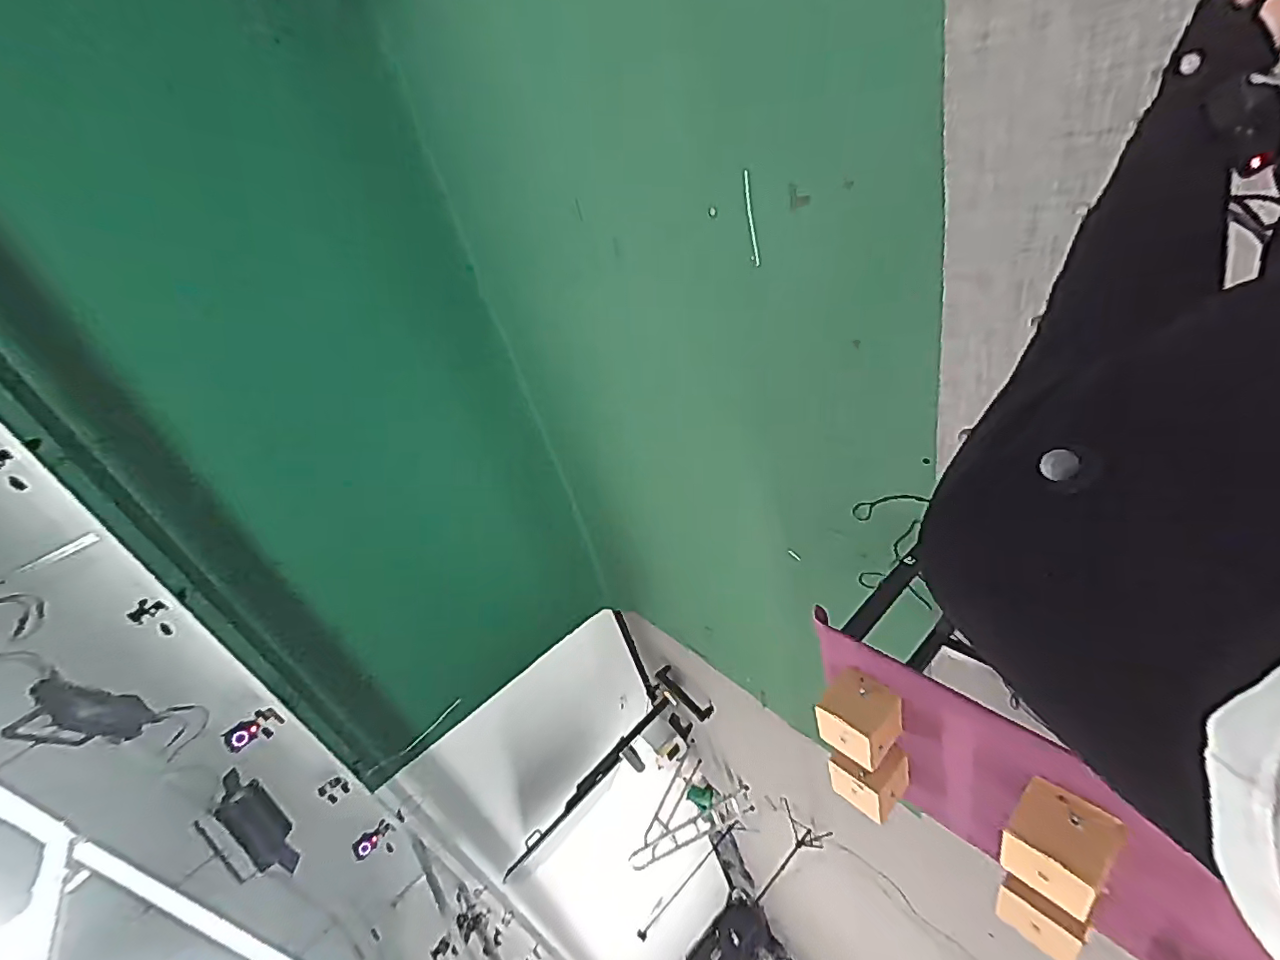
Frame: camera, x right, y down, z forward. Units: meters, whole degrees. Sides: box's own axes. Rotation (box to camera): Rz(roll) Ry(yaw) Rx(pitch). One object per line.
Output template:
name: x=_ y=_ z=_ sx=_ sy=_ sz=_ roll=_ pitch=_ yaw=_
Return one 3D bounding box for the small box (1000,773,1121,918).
small box: x=0.938 y=0.810 z=1.210 sx=0.168 sy=0.176 sz=0.179 roll=22 pitch=139 yaw=49

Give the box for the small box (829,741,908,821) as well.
small box: x=0.716 y=0.902 z=1.682 sx=0.168 sy=0.176 sz=0.179 roll=20 pitch=138 yaw=48

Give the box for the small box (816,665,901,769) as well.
small box: x=0.631 y=0.673 z=1.549 sx=0.168 sy=0.176 sz=0.179 roll=22 pitch=139 yaw=46

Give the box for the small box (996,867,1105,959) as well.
small box: x=1.016 y=1.031 z=1.340 sx=0.168 sy=0.176 sz=0.179 roll=22 pitch=138 yaw=47
